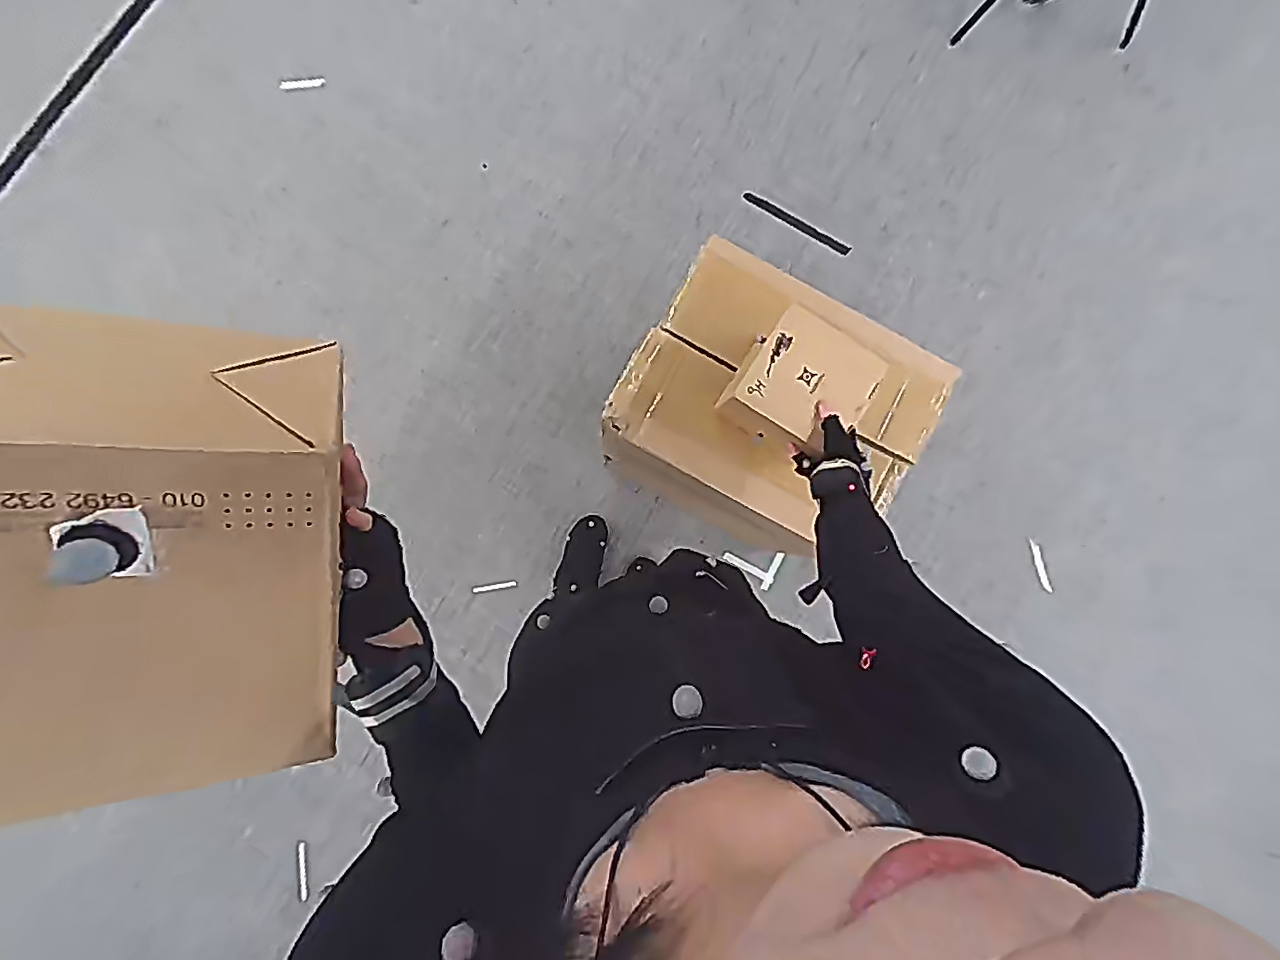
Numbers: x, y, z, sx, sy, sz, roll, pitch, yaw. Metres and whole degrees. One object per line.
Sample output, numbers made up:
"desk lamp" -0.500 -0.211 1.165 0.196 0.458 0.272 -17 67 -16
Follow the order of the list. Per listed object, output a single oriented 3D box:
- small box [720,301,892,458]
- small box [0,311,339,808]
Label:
"small box" 0.251 -0.149 0.862 0.179 0.176 0.168 33 90 -2
"small box" -0.241 0.017 0.261 0.168 0.179 0.176 0 116 -27
